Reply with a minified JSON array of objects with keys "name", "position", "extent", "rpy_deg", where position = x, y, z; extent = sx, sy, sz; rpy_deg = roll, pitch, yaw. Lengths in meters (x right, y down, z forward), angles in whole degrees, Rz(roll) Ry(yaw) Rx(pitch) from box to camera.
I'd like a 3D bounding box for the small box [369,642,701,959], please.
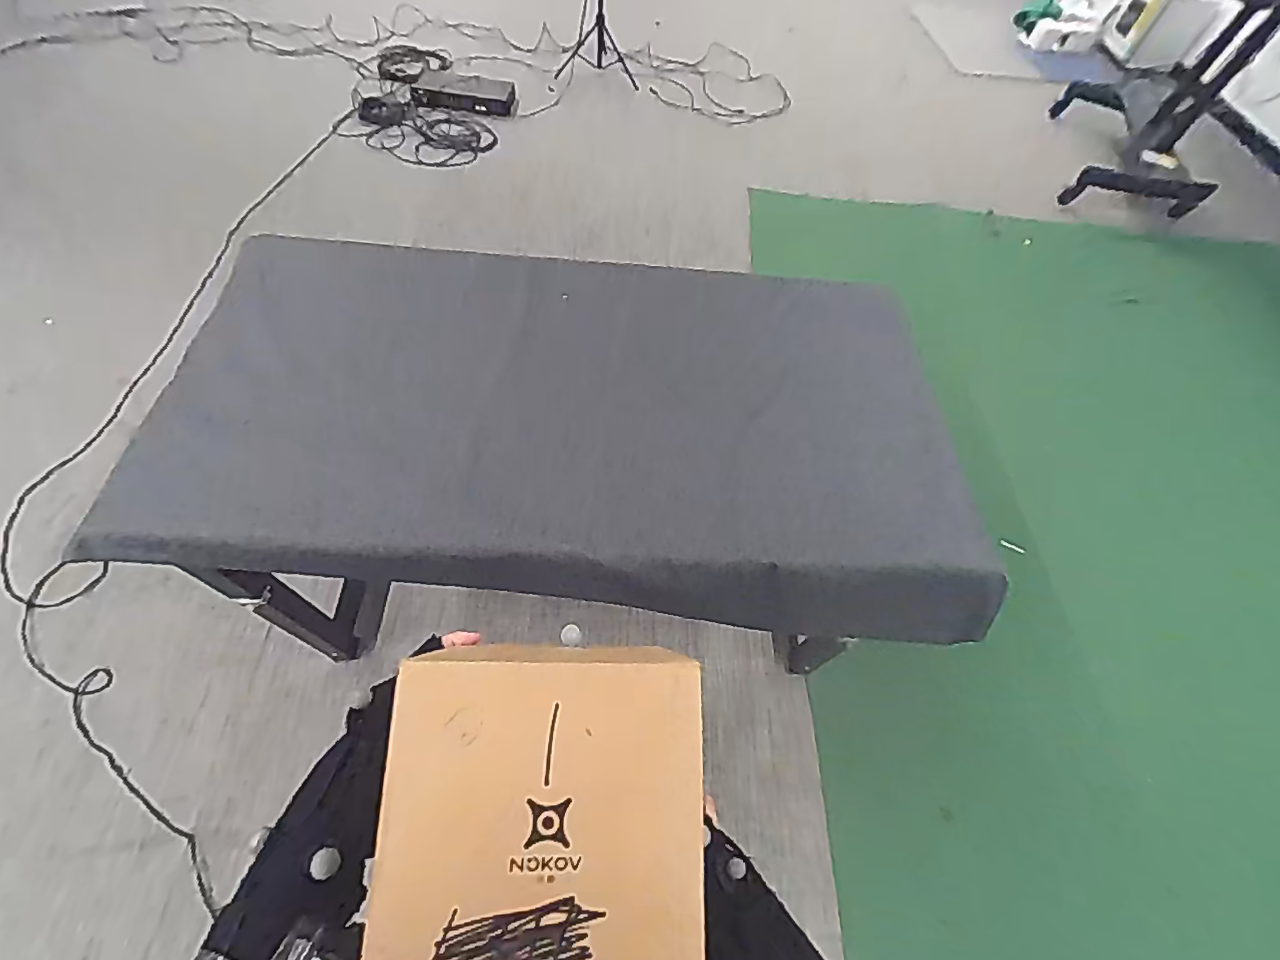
[{"name":"small box","position":[-0.057,0.206,0.363],"extent":[0.168,0.176,0.179],"rpy_deg":[4,75,-5]}]
